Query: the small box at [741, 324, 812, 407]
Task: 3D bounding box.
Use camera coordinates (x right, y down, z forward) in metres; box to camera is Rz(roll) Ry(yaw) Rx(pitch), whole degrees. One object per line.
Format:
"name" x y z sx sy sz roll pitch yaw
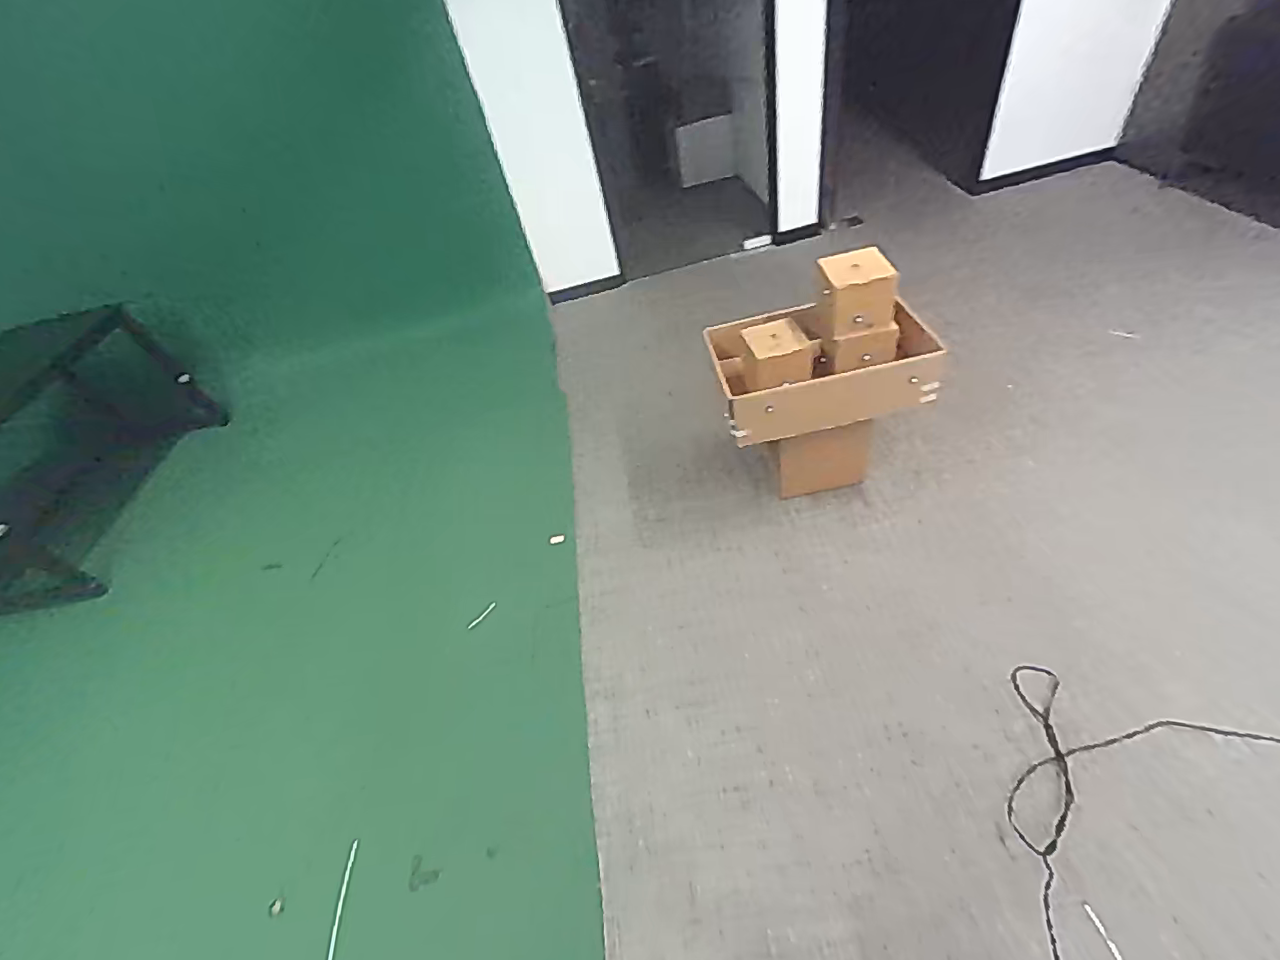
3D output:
"small box" 0.419 -0.356 1.682 0.168 0.176 0.179 -15 45 0

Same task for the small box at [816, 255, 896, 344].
"small box" 0.614 -0.519 1.561 0.168 0.176 0.179 -11 45 6
